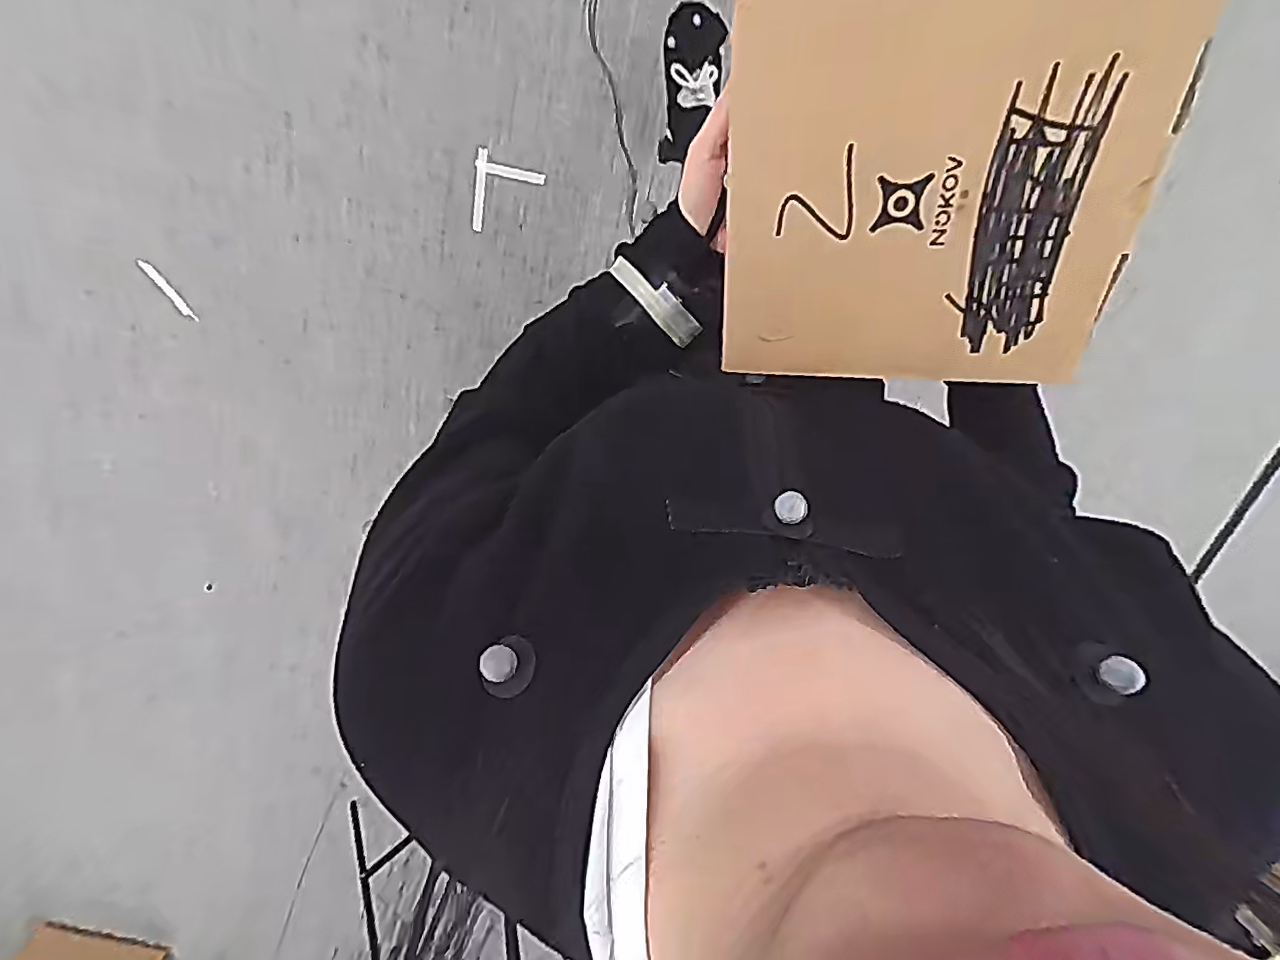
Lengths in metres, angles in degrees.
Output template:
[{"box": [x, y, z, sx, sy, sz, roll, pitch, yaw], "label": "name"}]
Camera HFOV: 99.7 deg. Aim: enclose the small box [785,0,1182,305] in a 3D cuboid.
[{"box": [0.247, -0.264, 0.443, 0.179, 0.176, 0.168, 27, 109, -7], "label": "small box"}]
